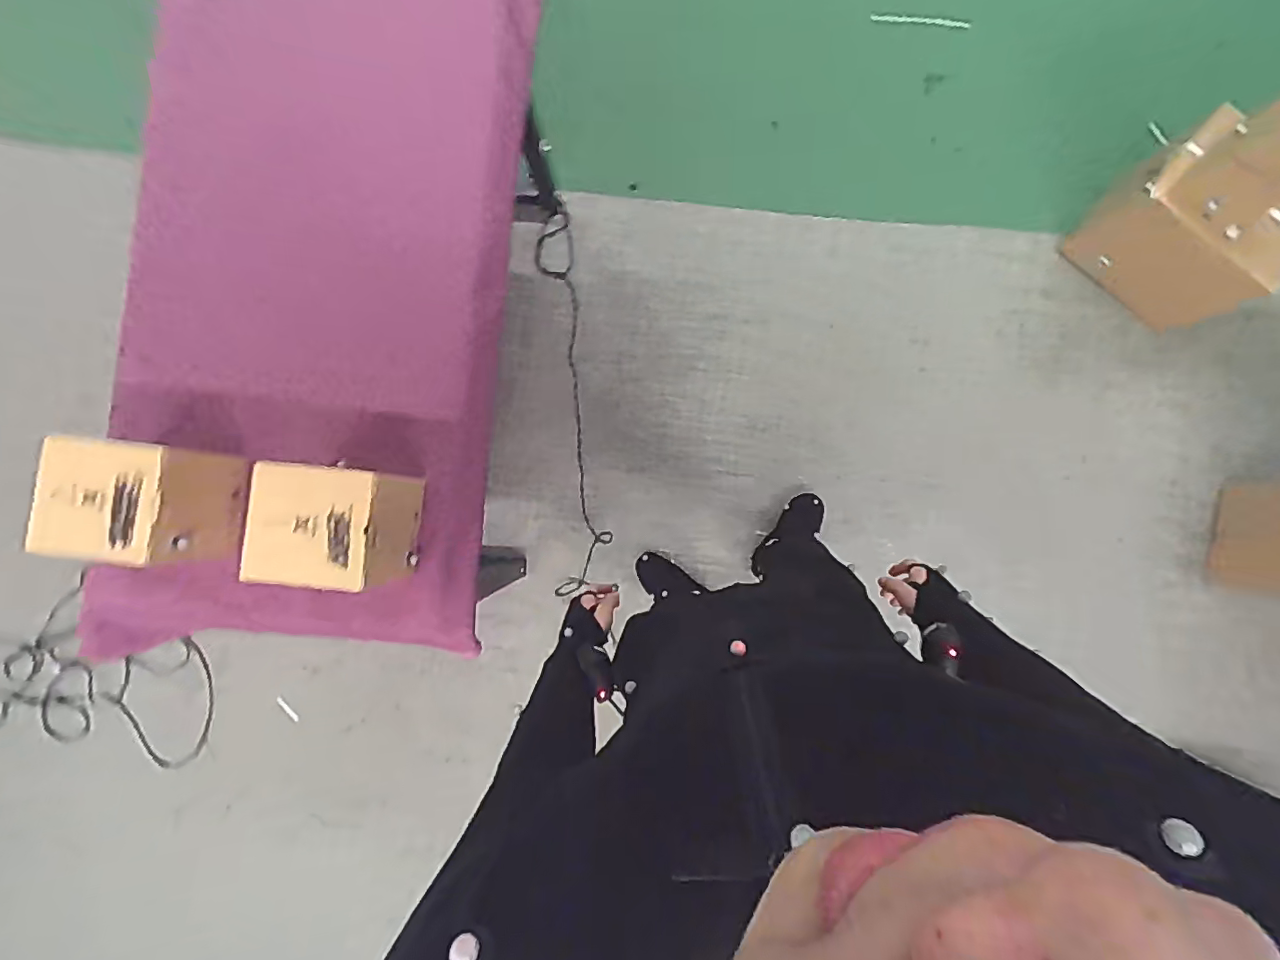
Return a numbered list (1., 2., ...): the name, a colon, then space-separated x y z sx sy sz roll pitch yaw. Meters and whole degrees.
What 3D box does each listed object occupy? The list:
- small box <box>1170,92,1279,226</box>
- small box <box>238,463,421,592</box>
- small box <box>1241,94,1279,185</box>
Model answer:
1. small box: 1.412 -0.739 1.254 0.168 0.176 0.179 40 90 2
2. small box: -0.455 0.068 0.821 0.179 0.176 0.168 5 87 2
3. small box: 1.403 -0.738 1.090 0.168 0.176 0.179 40 89 2
